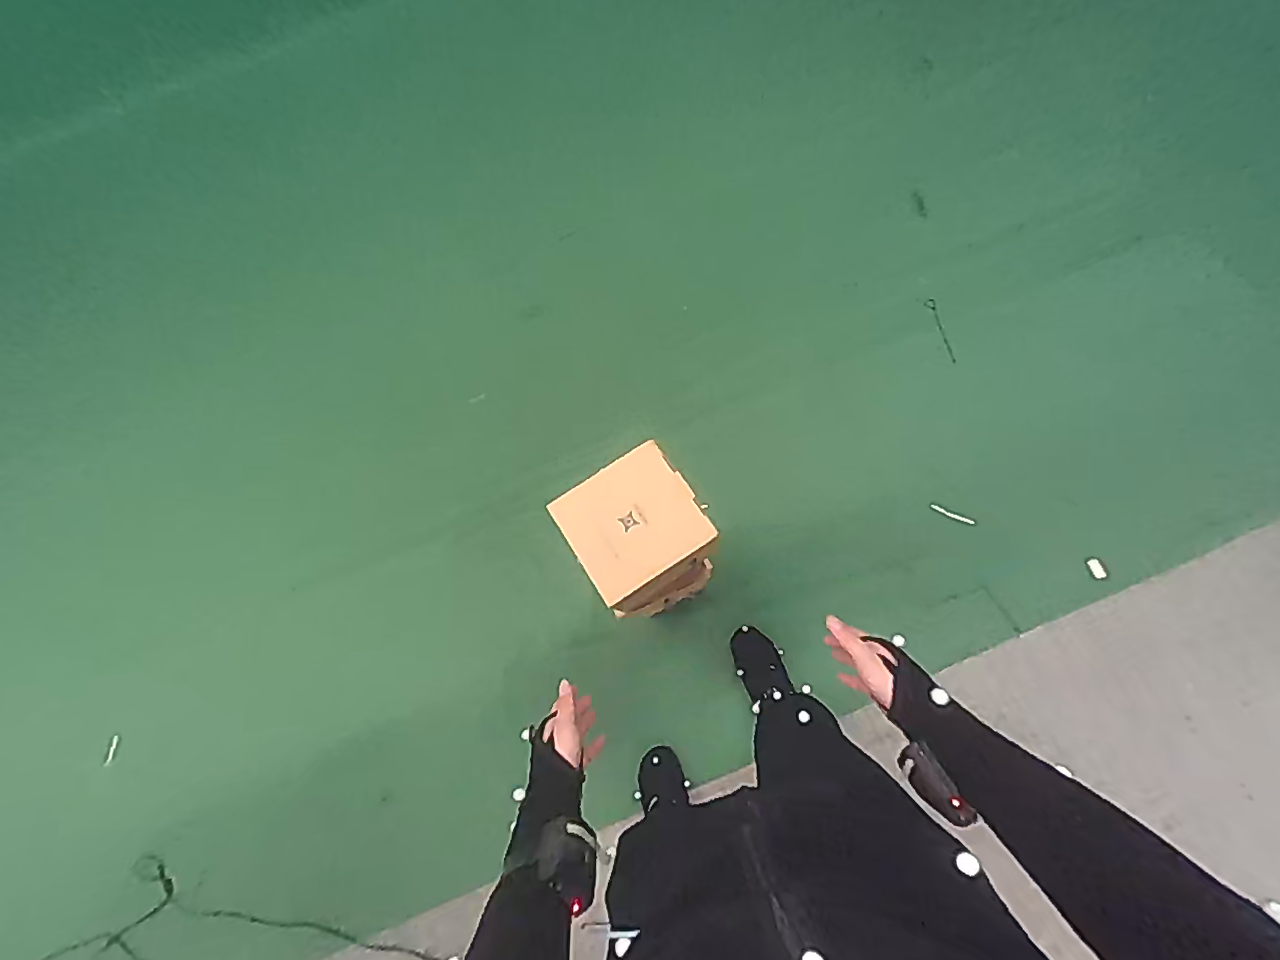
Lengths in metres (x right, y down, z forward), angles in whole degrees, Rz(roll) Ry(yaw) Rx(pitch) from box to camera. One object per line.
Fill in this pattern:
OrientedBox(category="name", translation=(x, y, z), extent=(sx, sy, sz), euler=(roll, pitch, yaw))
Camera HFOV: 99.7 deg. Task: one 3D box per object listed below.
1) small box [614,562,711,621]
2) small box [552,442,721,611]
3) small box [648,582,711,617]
OrientedBox(category="small box", translation=(0.014, 0.133, 0.952), extent=(0.168, 0.176, 0.179), euler=(-25, 74, -2))
OrientedBox(category="small box", translation=(0.000, 0.076, 0.799), extent=(0.179, 0.176, 0.168), euler=(-33, 73, -3))
OrientedBox(category="small box", translation=(0.068, 0.249, 1.424), extent=(0.179, 0.176, 0.168), euler=(-27, 73, -4))
